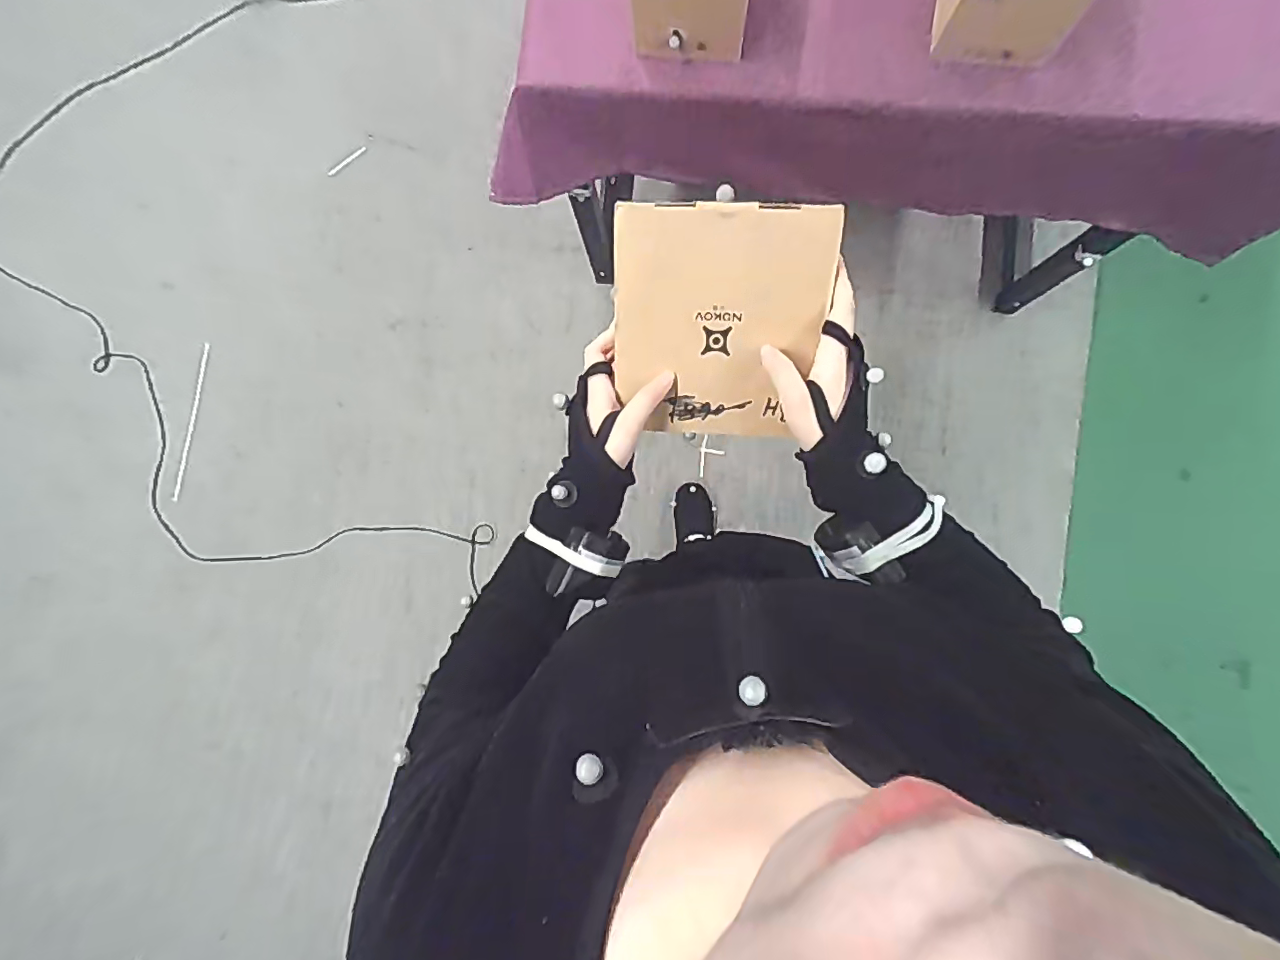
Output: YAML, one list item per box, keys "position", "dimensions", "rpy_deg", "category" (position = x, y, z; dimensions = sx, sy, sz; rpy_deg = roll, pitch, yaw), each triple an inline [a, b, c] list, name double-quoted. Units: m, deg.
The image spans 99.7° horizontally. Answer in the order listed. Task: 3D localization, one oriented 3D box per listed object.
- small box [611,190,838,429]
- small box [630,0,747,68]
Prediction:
- position: [0.066, -0.158, 0.493]
  dimensions: [0.168, 0.176, 0.179]
  rpy_deg: [3, 115, 6]
  category: "small box"
- position: [0.076, -0.742, 0.771]
  dimensions: [0.168, 0.176, 0.179]
  rpy_deg: [7, 86, 5]
  category: "small box"
